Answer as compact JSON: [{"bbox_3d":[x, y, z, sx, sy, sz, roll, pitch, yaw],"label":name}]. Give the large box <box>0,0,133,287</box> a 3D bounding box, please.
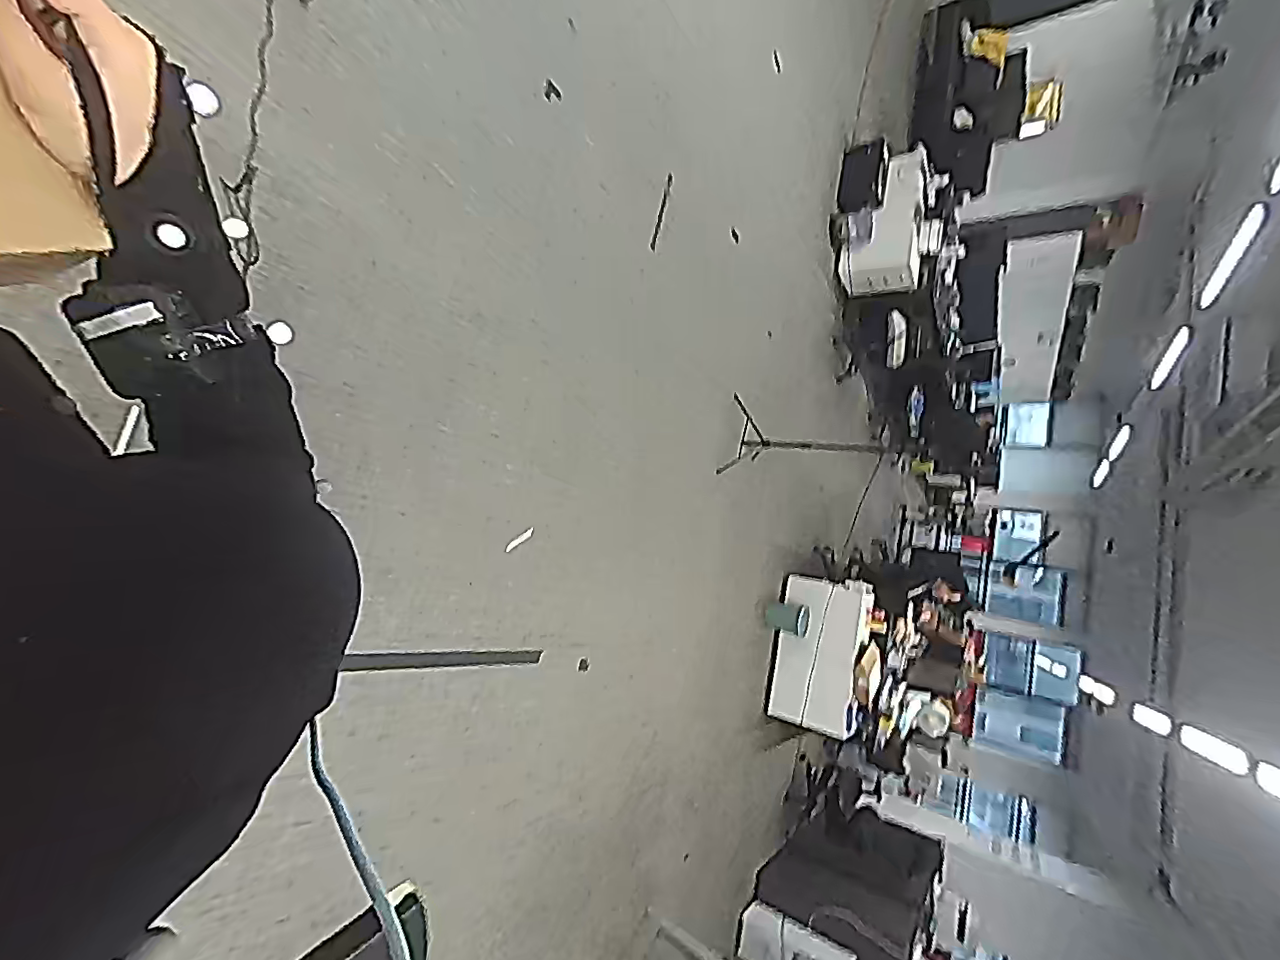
[{"bbox_3d":[-0.543,-0.223,0.202,0.408,0.320,0.320,-30,124,-46],"label":"large box"}]
